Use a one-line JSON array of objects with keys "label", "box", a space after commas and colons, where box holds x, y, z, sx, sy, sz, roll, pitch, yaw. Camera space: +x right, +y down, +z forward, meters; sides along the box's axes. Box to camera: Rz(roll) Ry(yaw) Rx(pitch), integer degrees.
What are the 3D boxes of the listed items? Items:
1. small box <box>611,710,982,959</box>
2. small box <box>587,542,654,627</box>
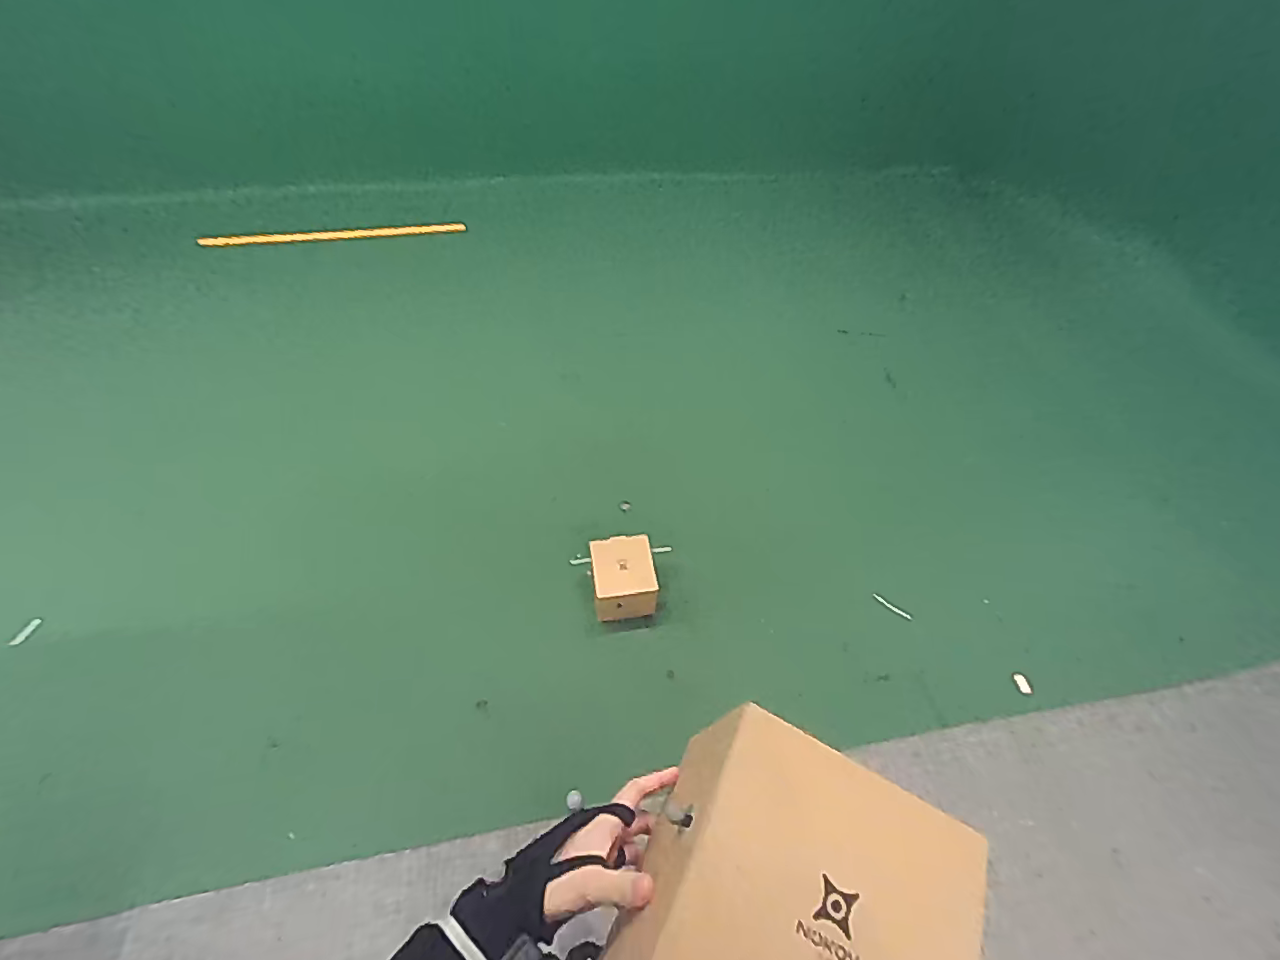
[{"label": "small box", "box": [0.092, 0.294, 0.368, 0.168, 0.176, 0.179, 28, 56, 9]}, {"label": "small box", "box": [-0.057, 0.302, 1.531, 0.168, 0.176, 0.179, -7, 52, -8]}]
